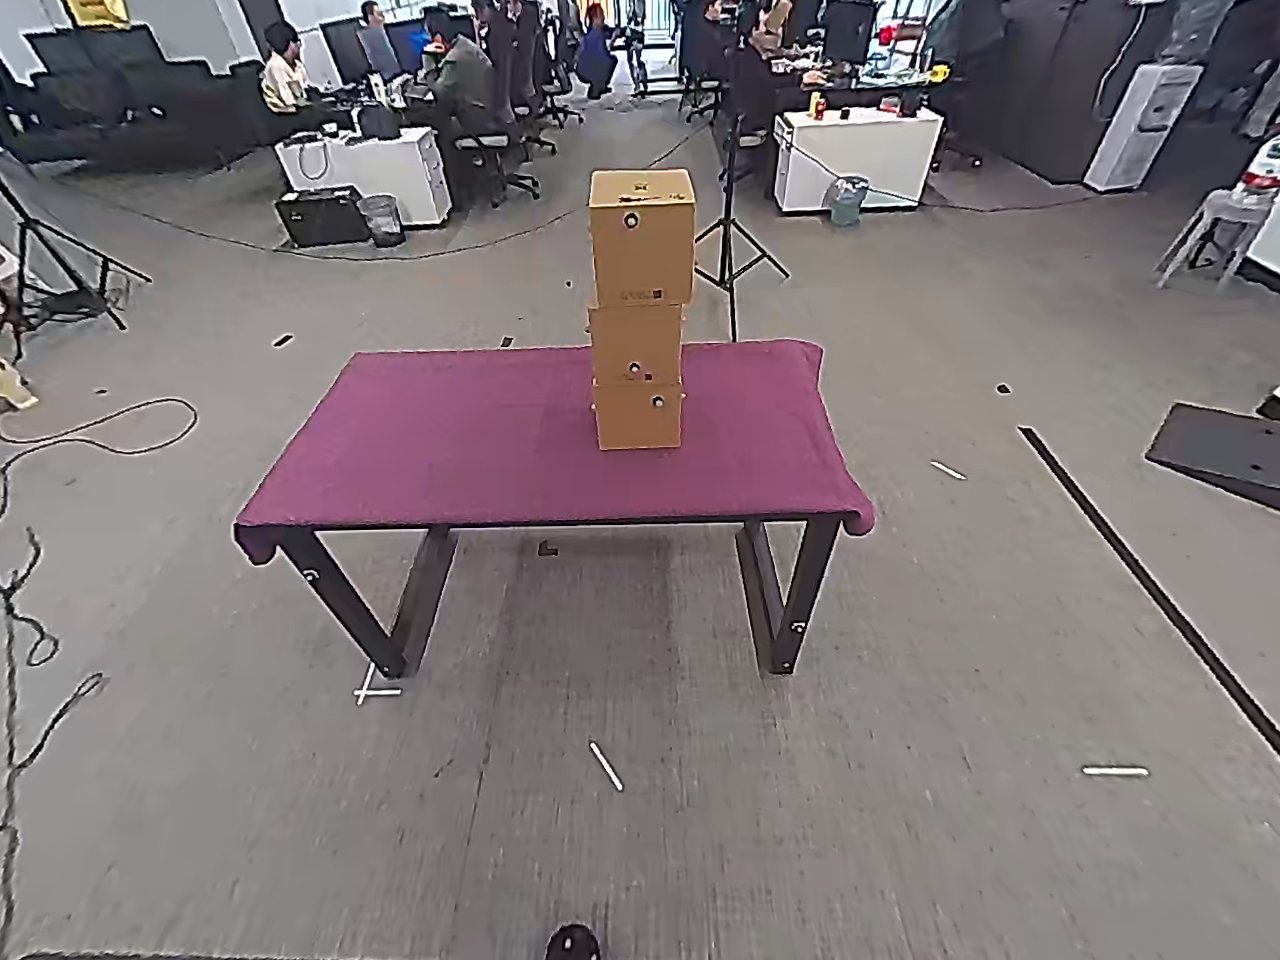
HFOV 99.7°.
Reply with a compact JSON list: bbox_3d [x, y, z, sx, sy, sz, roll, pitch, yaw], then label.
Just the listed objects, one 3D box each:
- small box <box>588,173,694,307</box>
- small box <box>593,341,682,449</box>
[{"bbox_3d":[0.003,-0.416,0.939,0.168,0.176,0.179,-3,44,1],"label":"small box"},{"bbox_3d":[-0.003,-0.181,1.168,0.179,0.176,0.168,-3,44,1],"label":"small box"}]
